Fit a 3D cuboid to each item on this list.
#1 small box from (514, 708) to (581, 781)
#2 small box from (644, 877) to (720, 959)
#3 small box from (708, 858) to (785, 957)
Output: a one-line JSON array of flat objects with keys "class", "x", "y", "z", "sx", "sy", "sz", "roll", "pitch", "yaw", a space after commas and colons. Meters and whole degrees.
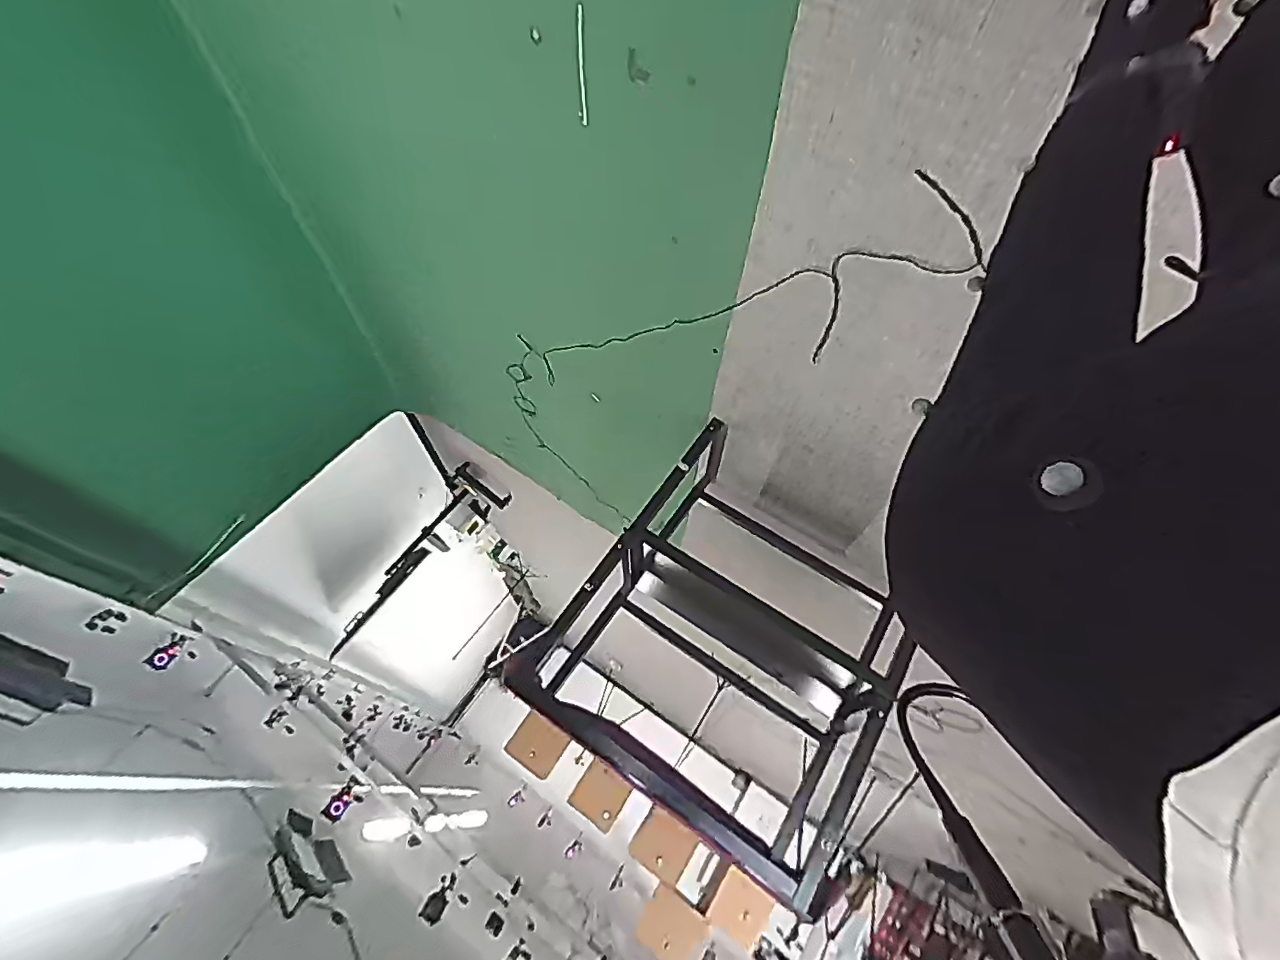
[{"class": "small box", "x": -0.323, "y": 0.947, "z": 1.936, "sx": 0.179, "sy": 0.176, "sz": 0.168, "roll": 32, "pitch": 153, "yaw": 13}, {"class": "small box", "x": 0.131, "y": 1.385, "z": 1.676, "sx": 0.179, "sy": 0.176, "sz": 0.168, "roll": 31, "pitch": 155, "yaw": 19}, {"class": "small box", "x": 0.337, "y": 1.338, "z": 1.708, "sx": 0.168, "sy": 0.176, "sz": 0.179, "roll": 32, "pitch": 156, "yaw": 14}]
